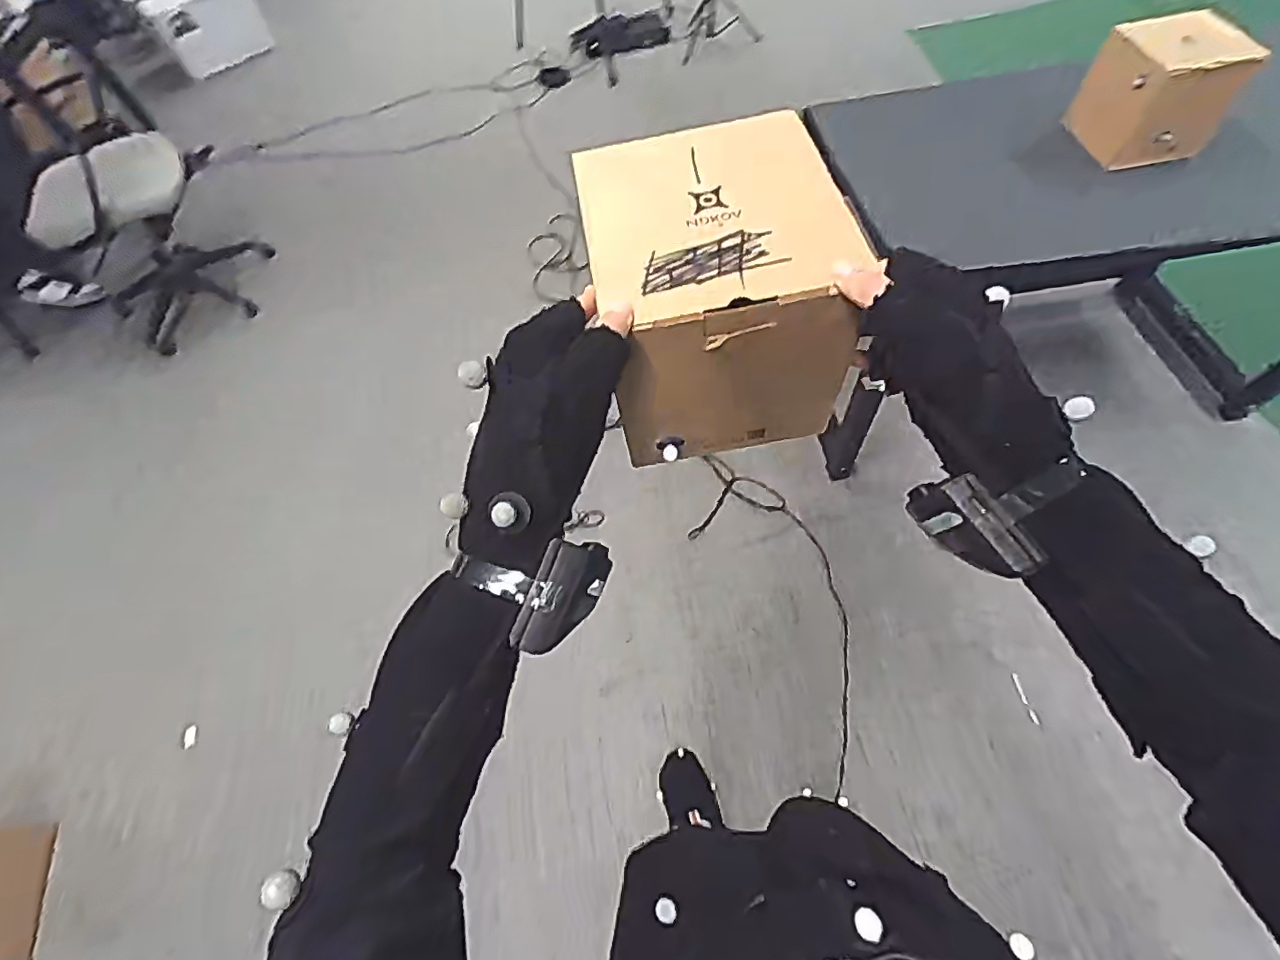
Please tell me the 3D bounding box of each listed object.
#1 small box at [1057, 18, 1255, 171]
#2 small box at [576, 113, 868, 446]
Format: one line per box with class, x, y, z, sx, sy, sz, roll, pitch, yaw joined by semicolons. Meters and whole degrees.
small box;0.934;-0.711;1.005;0.168;0.176;0.179;-9;60;2
small box;0.052;-0.141;0.426;0.168;0.176;0.179;-10;62;1
